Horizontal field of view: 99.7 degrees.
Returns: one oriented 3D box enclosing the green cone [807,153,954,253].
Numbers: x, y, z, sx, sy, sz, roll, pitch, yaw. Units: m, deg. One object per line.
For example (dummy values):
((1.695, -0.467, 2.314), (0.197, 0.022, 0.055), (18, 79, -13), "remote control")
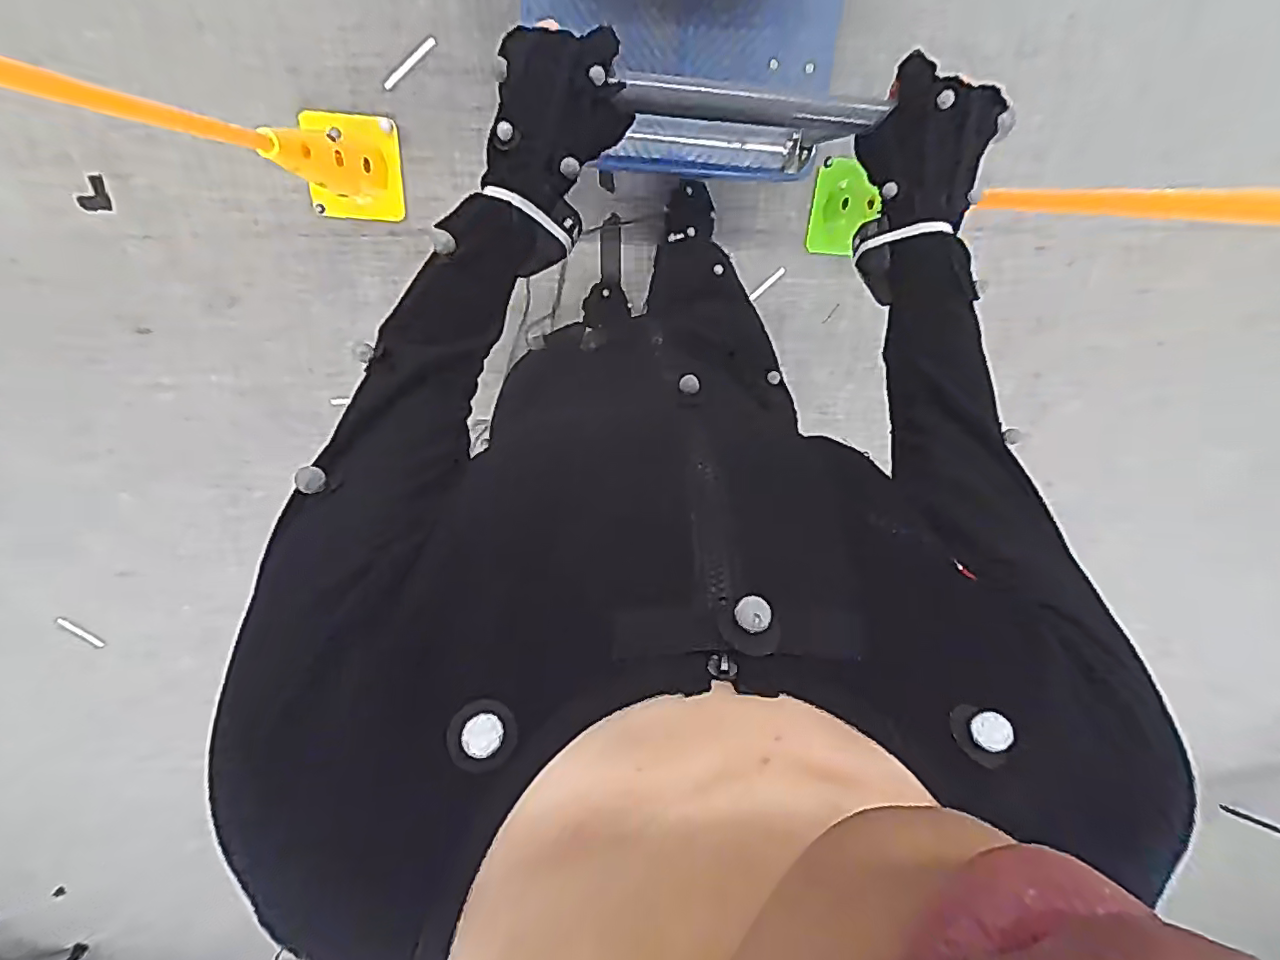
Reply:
((0.517, -0.577, 1.117), (0.202, 0.368, 0.200), (2, 114, -6), "green cone")
